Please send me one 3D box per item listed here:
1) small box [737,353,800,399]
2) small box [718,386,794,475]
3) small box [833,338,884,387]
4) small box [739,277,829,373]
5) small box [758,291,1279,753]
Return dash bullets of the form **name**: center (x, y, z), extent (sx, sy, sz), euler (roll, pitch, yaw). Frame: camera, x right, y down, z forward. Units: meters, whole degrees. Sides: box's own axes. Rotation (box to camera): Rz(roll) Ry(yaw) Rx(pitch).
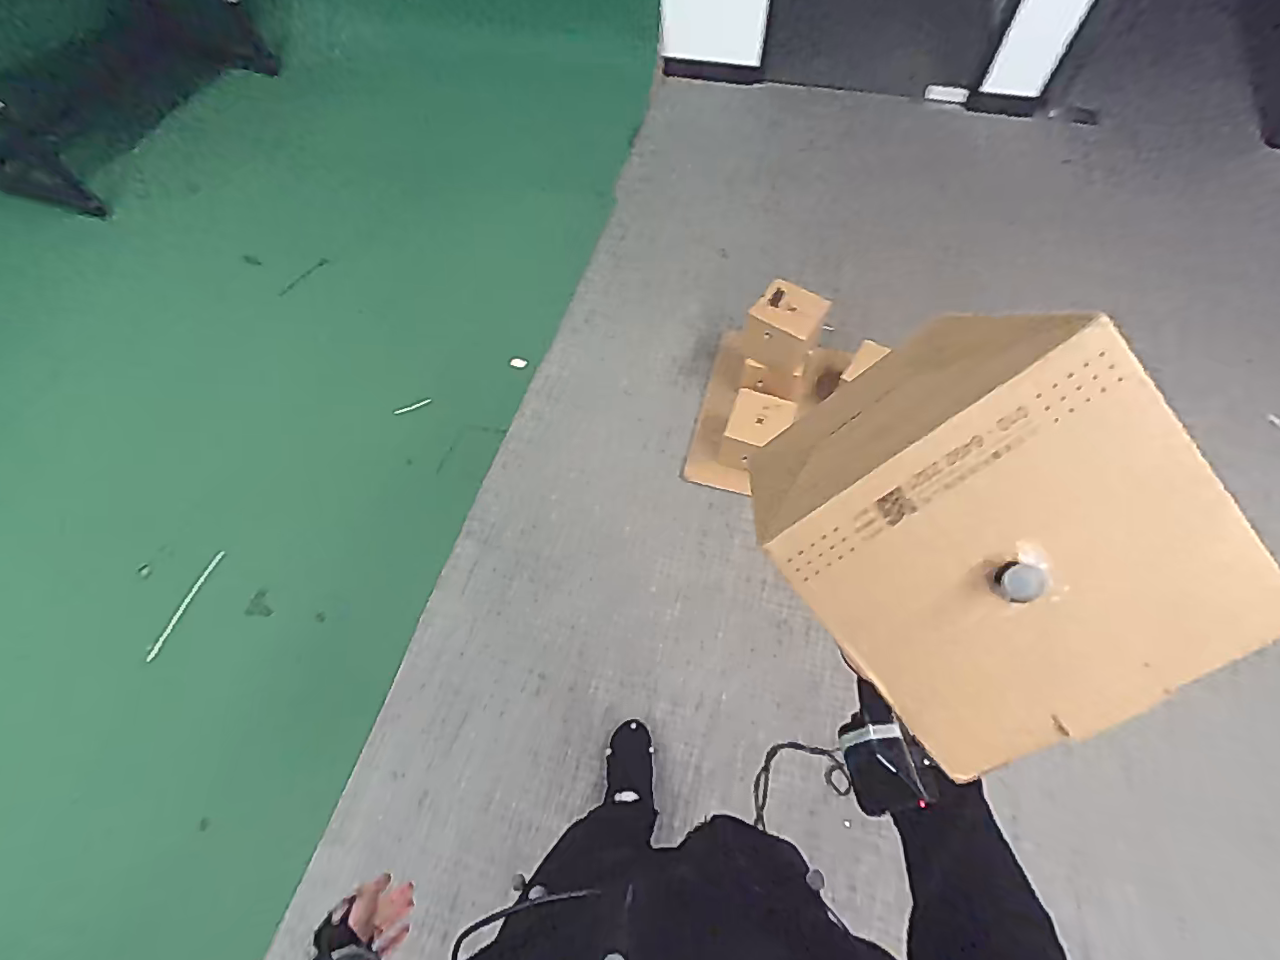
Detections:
- **small box**: center (0.408, -0.365, 1.693), extent (0.168, 0.176, 0.179), euler (15, 64, 9)
- **small box**: center (0.333, -0.139, 1.577), extent (0.168, 0.176, 0.179), euler (19, 65, 10)
- **small box**: center (0.693, -0.290, 1.643), extent (0.168, 0.176, 0.179), euler (31, 67, 16)
- **small box**: center (0.403, -0.437, 1.545), extent (0.179, 0.176, 0.168), euler (32, 67, 15)
- **small box**: center (0.187, 0.009, 0.324), extent (0.168, 0.179, 0.176), euler (-37, 96, 17)
